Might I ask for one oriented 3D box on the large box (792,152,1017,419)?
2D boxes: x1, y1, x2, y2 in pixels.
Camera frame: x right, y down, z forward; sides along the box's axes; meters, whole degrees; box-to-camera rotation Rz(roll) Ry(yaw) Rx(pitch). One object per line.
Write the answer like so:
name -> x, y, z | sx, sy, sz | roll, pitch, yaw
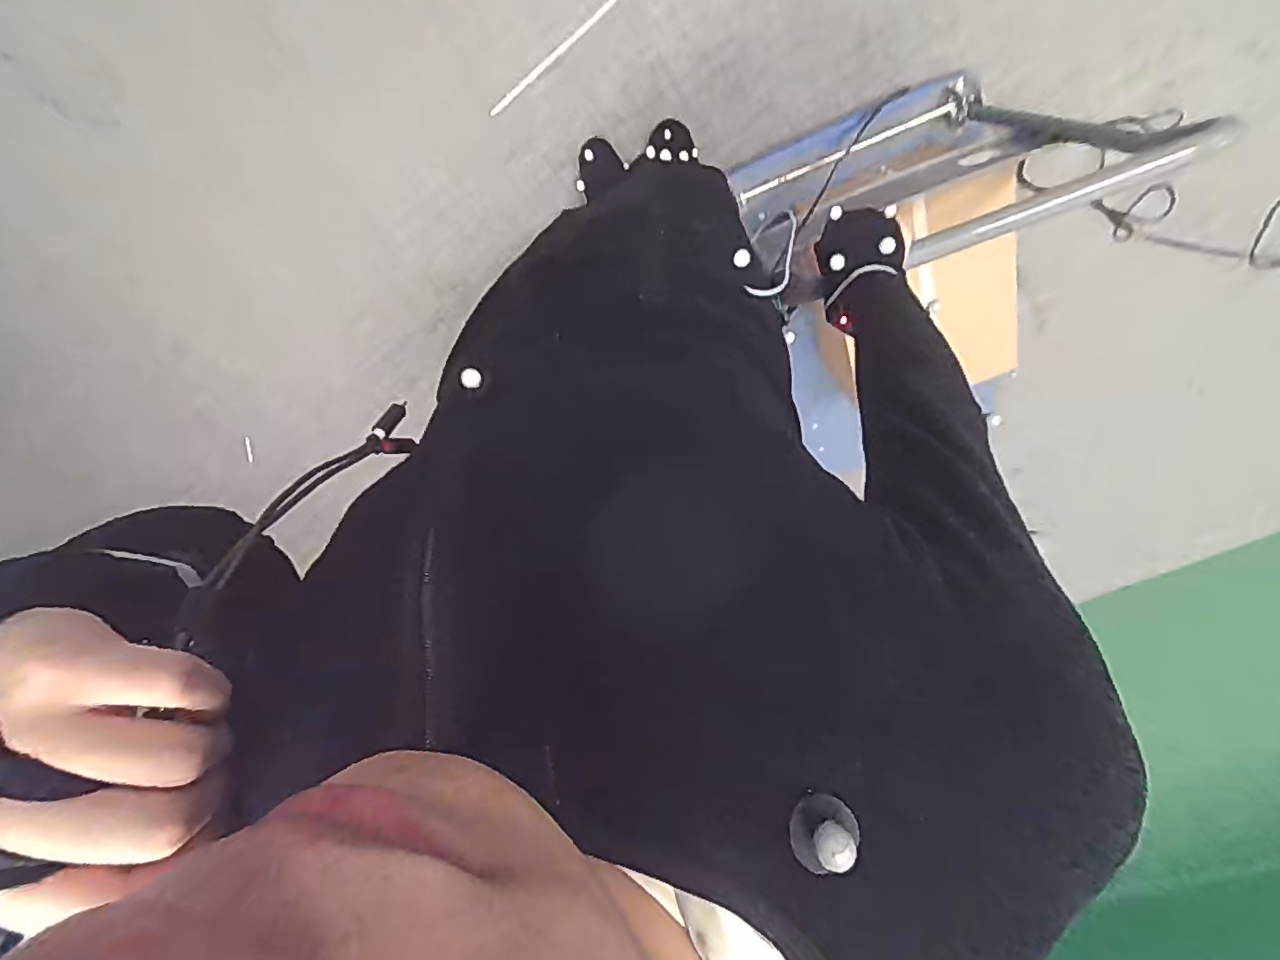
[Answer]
large box -> 0.548, -0.410, 1.146 | 0.320, 0.320, 0.408 | -18, 123, 13
